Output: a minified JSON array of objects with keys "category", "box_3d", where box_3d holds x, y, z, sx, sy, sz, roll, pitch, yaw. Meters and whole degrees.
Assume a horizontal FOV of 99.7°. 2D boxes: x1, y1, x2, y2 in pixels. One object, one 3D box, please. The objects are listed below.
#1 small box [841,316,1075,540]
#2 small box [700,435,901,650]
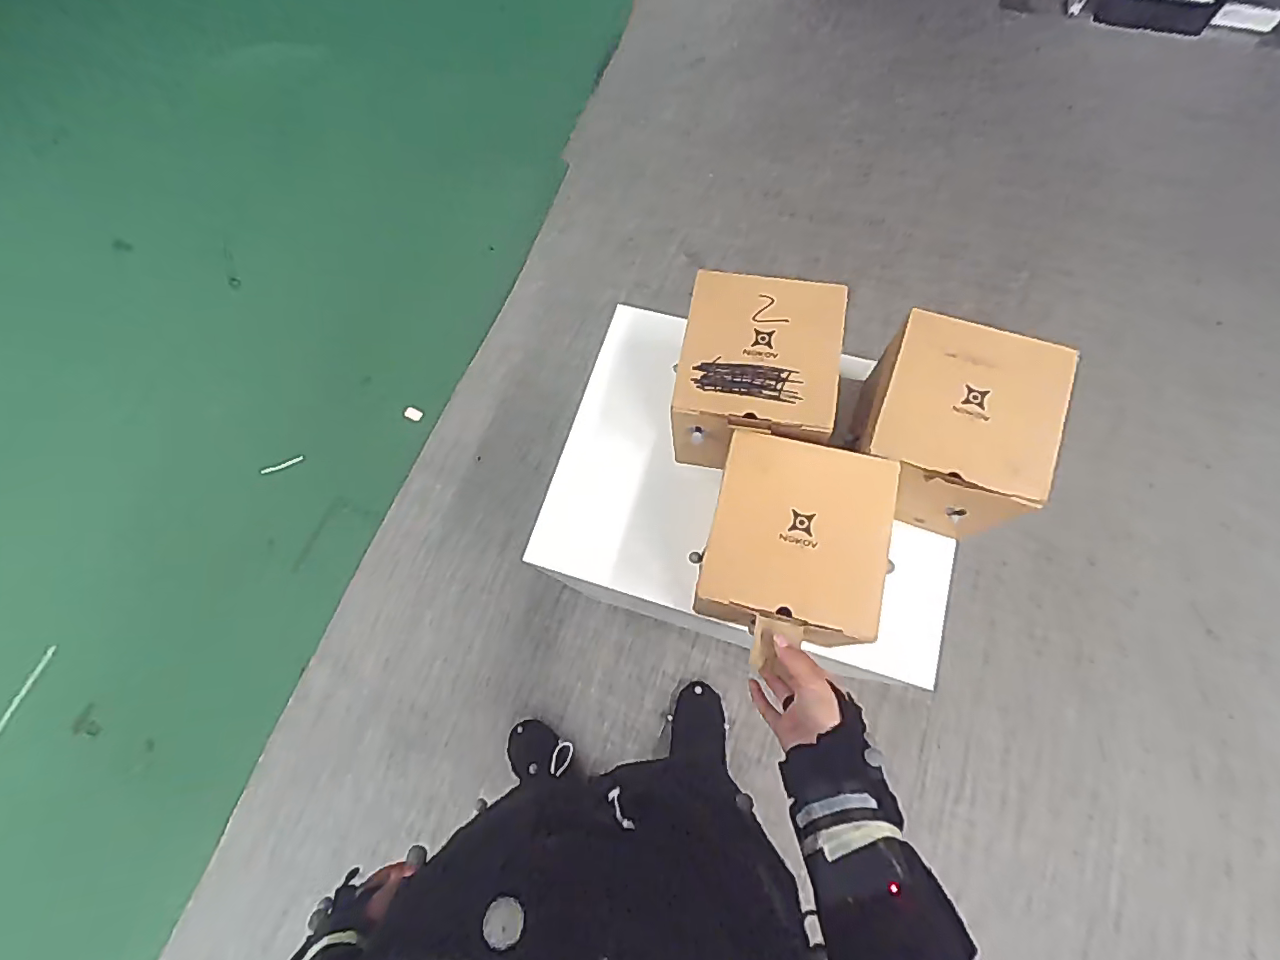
[{"category":"small box","box_3d":[0.336,-0.047,0.609,0.168,0.176,0.179,19,74,10]},{"category":"small box","box_3d":[0.161,0.076,0.587,0.168,0.176,0.179,13,73,9]}]
